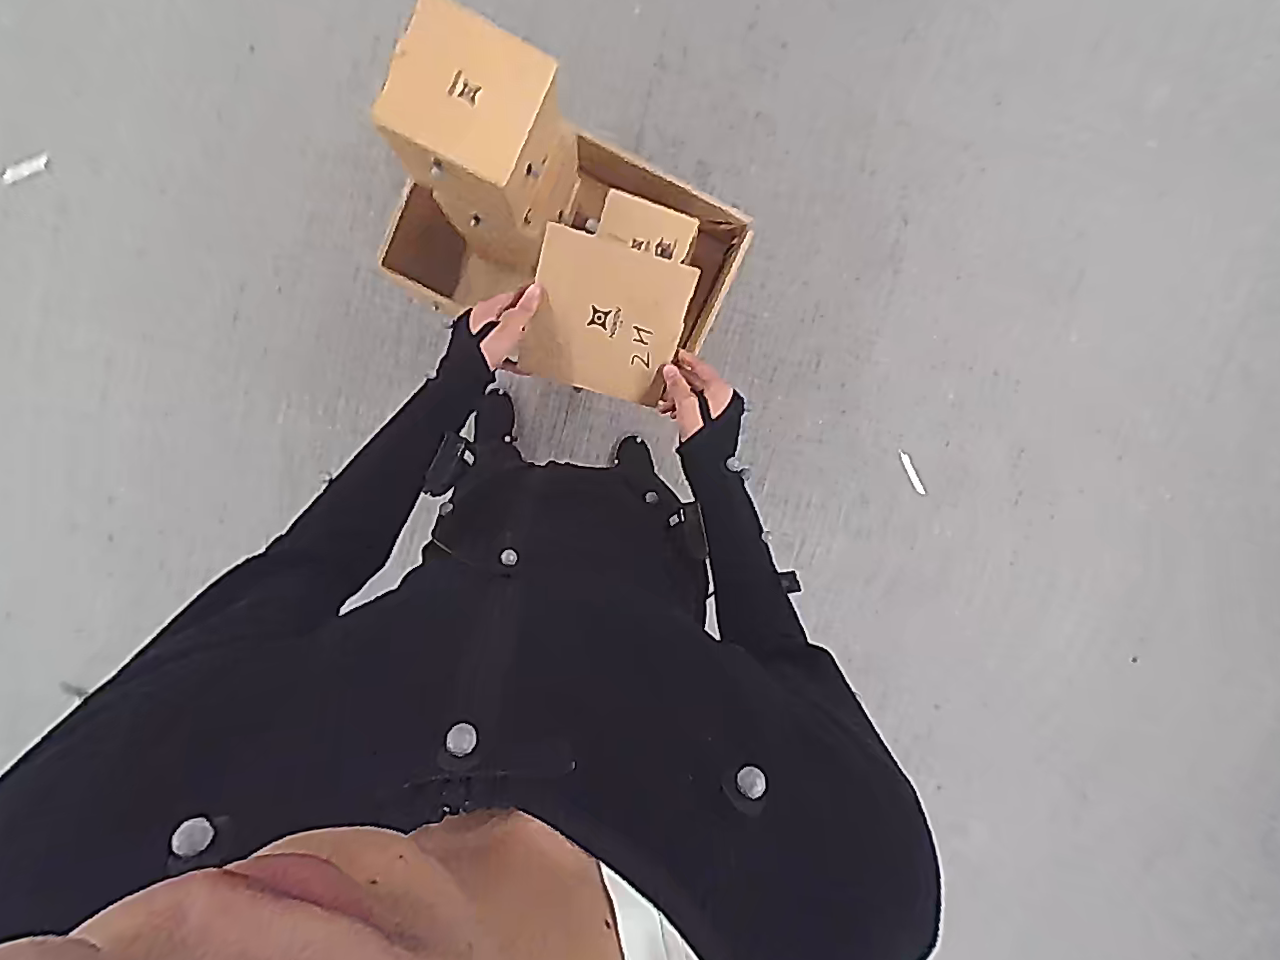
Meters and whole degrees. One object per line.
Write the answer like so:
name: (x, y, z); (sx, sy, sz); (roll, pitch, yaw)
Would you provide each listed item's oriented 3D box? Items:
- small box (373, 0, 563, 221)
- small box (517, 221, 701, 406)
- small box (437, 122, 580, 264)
small box: (-0.213, -0.478, 0.724); (0.179, 0.176, 0.168); (25, 94, -8)
small box: (-0.042, -0.210, 0.685); (0.179, 0.176, 0.168); (14, 111, -9)
small box: (-0.206, -0.488, 0.889); (0.168, 0.176, 0.179); (22, 94, -8)
